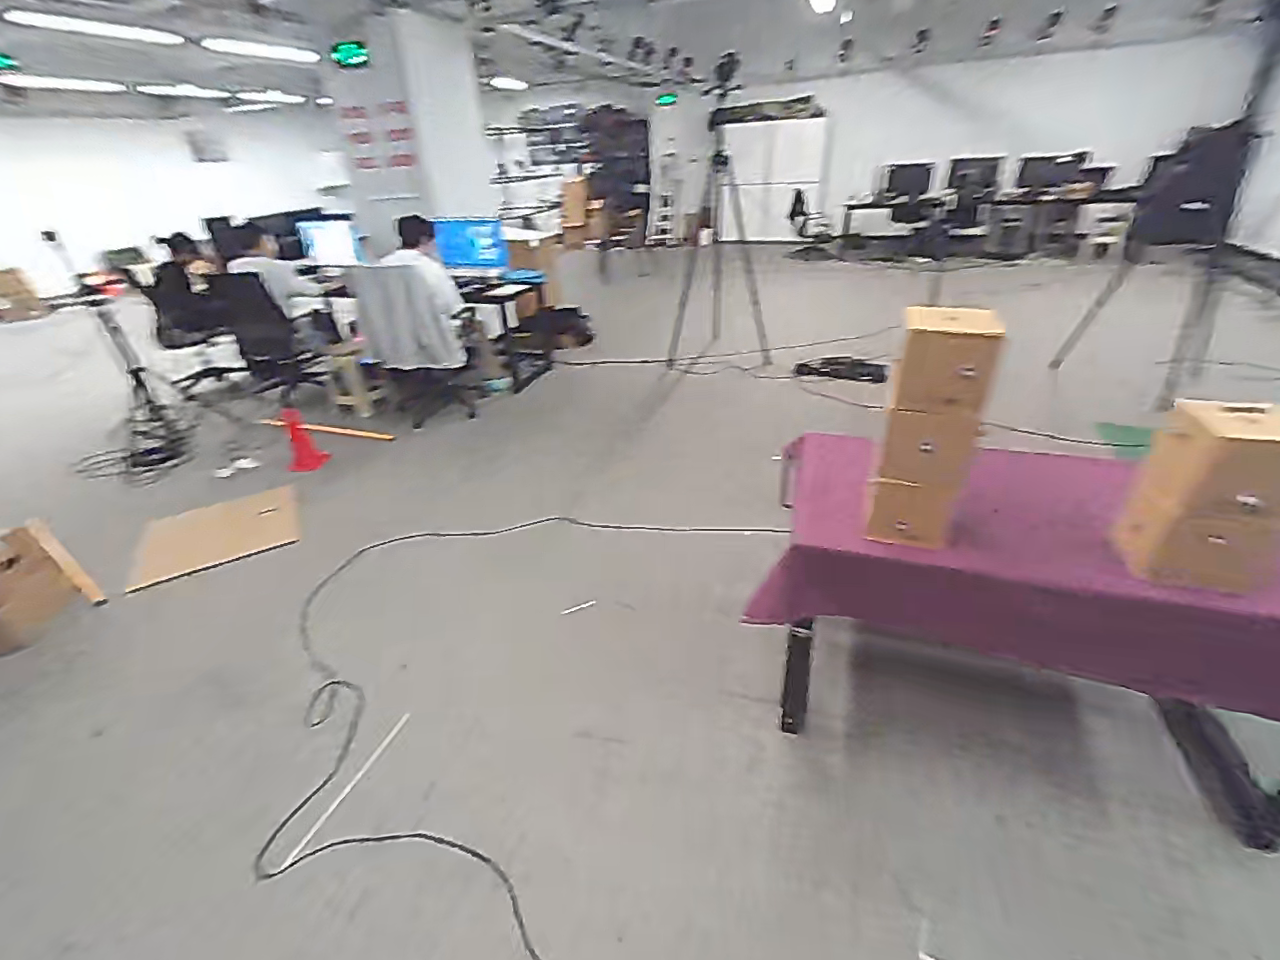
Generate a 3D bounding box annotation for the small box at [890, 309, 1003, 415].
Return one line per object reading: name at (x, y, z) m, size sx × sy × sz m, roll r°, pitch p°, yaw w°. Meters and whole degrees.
small box at (0.618, -0.244, 1.107) m, size 0.168 × 0.176 × 0.179 m, roll 9°, pitch 33°, yaw 20°

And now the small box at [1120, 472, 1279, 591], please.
small box at (1.121, 0.104, 1.097) m, size 0.179 × 0.176 × 0.168 m, roll 8°, pitch 33°, yaw 20°

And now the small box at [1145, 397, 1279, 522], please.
small box at (1.113, -0.042, 1.020) m, size 0.168 × 0.176 × 0.179 m, roll 6°, pitch 33°, yaw 18°

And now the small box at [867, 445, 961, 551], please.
small box at (0.634, 0.039, 1.271) m, size 0.168 × 0.176 × 0.179 m, roll 8°, pitch 33°, yaw 19°
